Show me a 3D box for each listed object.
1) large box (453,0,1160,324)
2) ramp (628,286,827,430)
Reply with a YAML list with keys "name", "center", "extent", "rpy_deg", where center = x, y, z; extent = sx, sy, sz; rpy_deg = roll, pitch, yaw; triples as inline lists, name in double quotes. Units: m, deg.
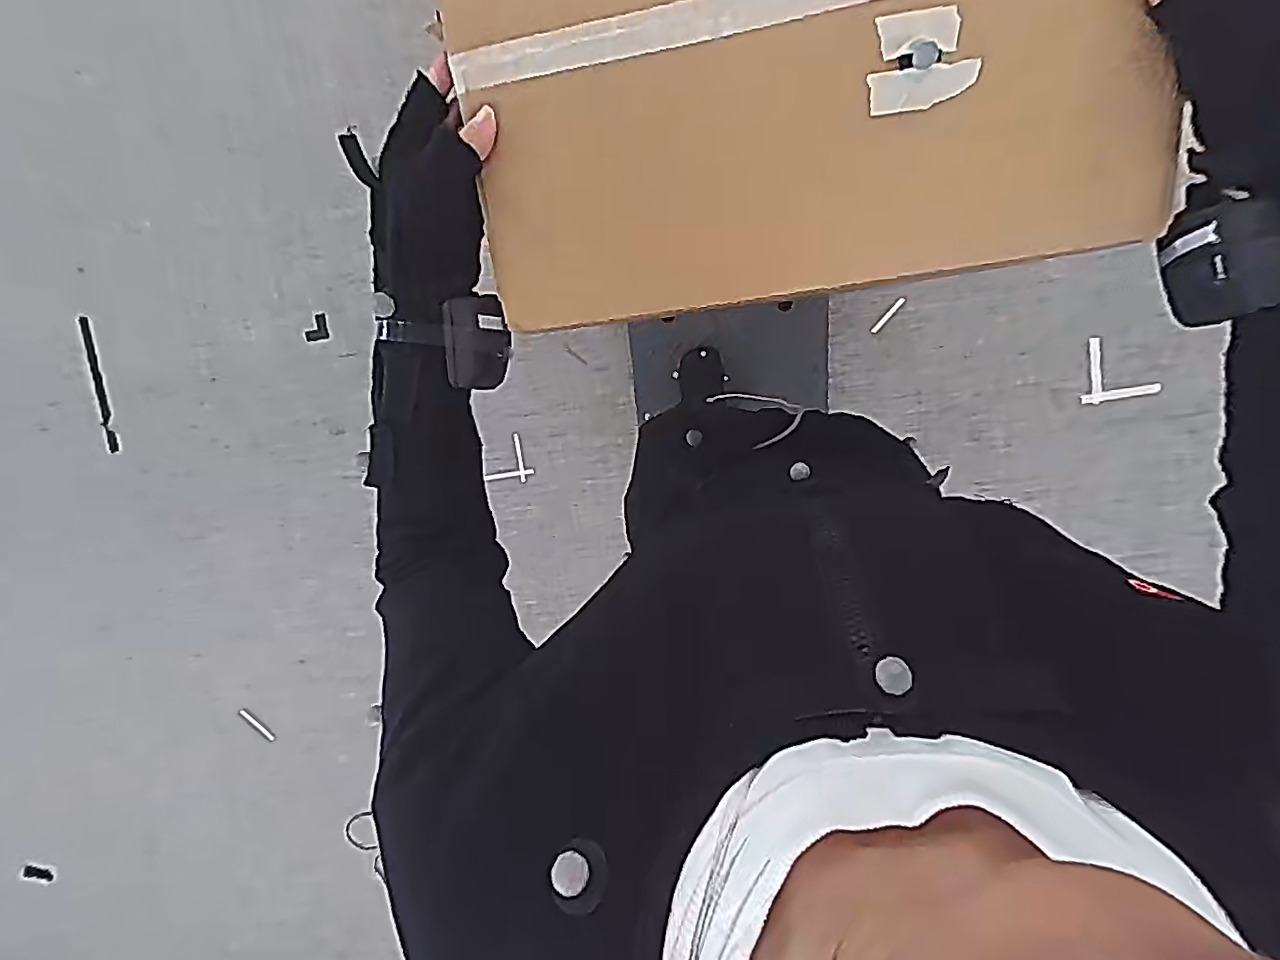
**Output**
- name: "large box"
  center: [0.099, -0.321, 0.457]
  extent: [0.408, 0.320, 0.320]
  rpy_deg: [-6, 106, 8]
- name: "ramp"
  center: [0.188, -0.621, 1.262]
  extent: [0.509, 0.206, 0.991]
  rpy_deg: [-6, 99, 6]
